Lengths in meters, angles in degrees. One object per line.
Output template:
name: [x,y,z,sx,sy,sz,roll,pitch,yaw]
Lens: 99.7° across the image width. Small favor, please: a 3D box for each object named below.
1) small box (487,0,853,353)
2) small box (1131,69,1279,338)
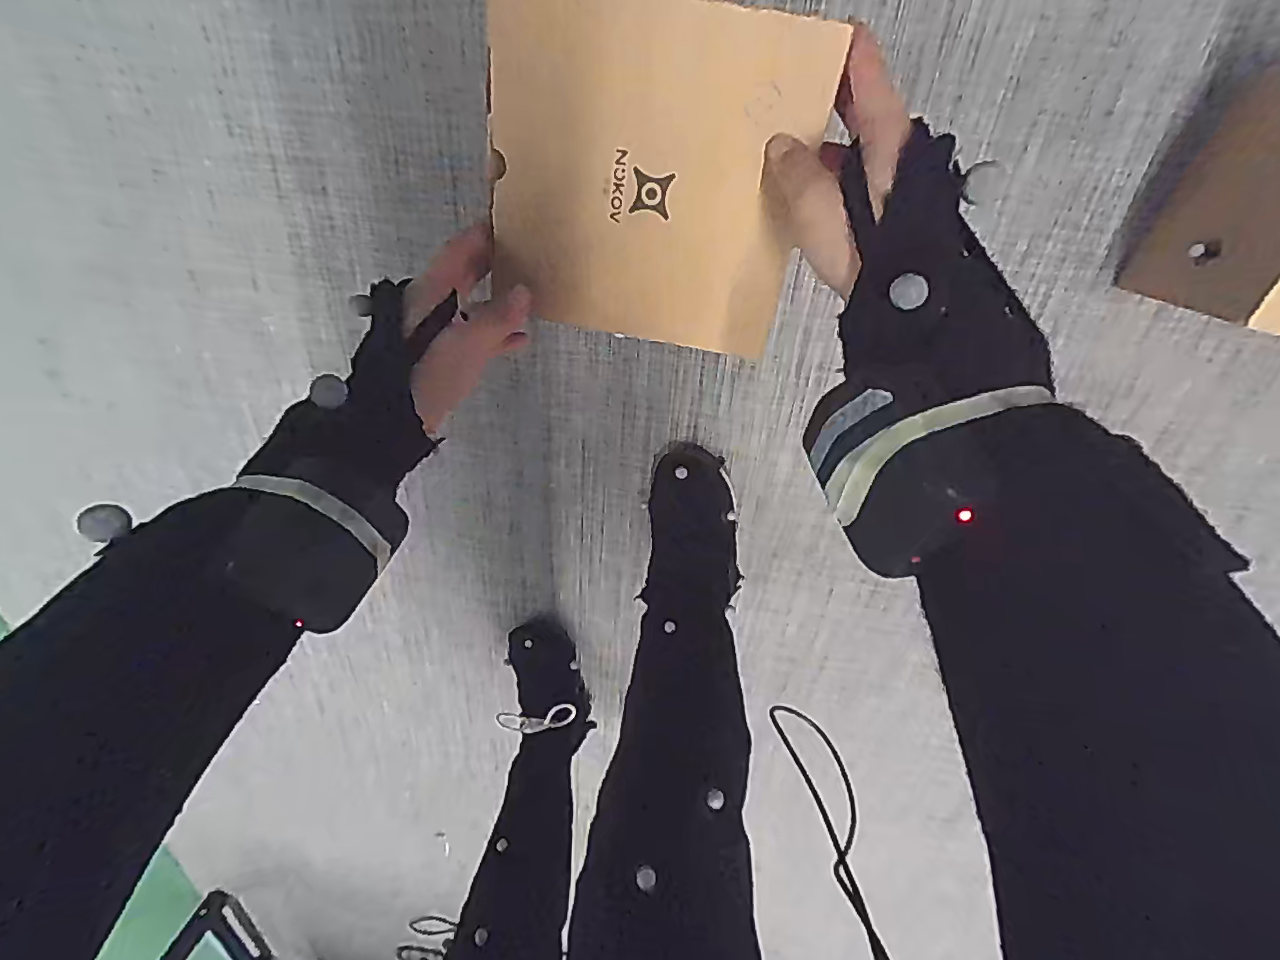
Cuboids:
small box: [0.014,-0.206,0.359,0.179,0.176,0.168,12,126,2]
small box: [0.541,-0.202,0.412,0.168,0.176,0.179,14,120,3]
